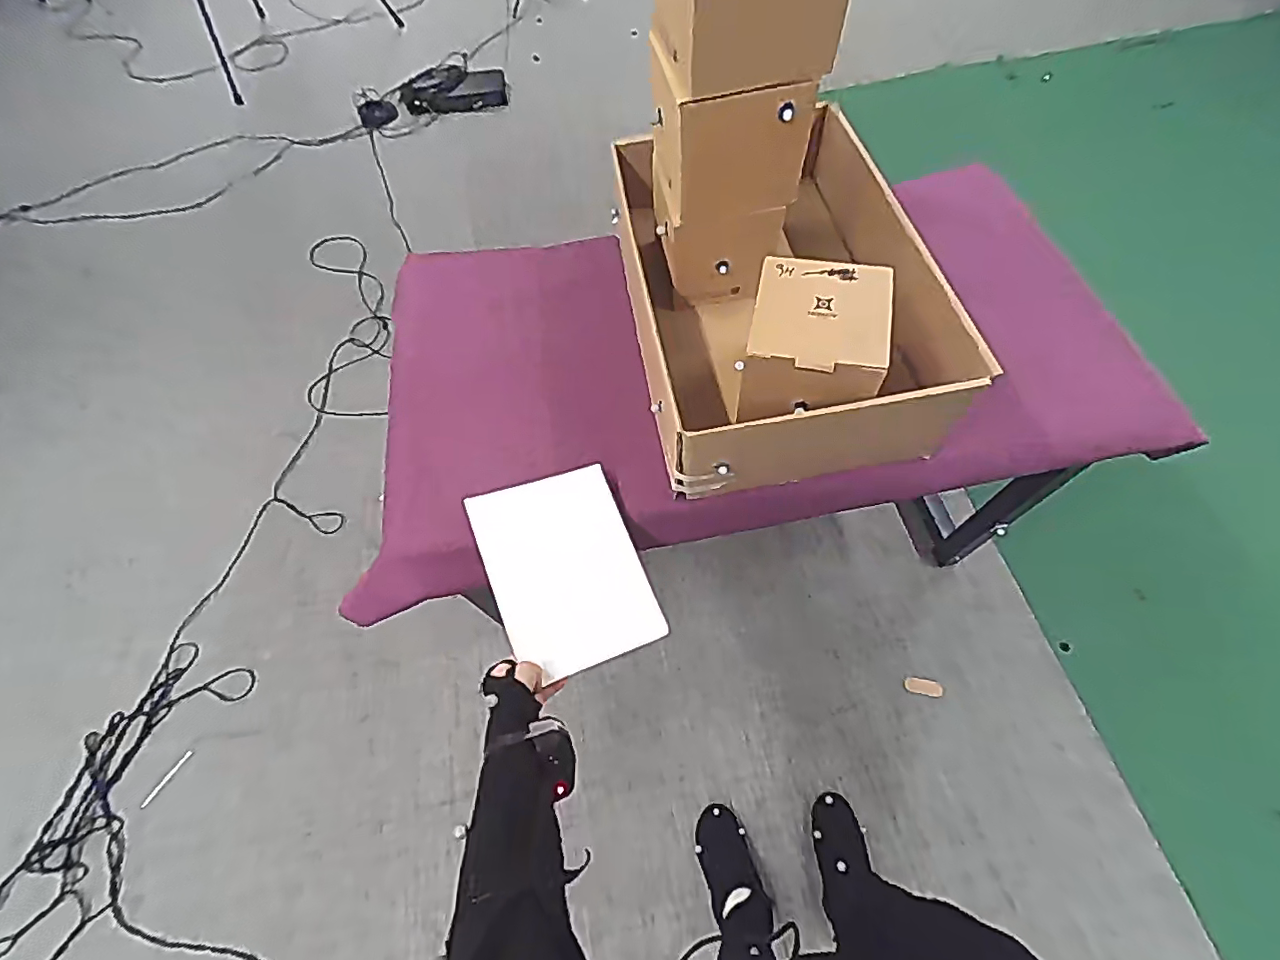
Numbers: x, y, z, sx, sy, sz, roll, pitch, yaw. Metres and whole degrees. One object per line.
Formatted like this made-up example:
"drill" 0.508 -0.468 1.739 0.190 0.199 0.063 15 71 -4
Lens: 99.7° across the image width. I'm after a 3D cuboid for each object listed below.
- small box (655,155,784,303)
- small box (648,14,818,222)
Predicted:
"small box" 0.121 -0.409 0.880 0.168 0.176 0.179 -10 64 -1
"small box" 0.116 -0.481 0.735 0.179 0.176 0.168 -12 63 -2
